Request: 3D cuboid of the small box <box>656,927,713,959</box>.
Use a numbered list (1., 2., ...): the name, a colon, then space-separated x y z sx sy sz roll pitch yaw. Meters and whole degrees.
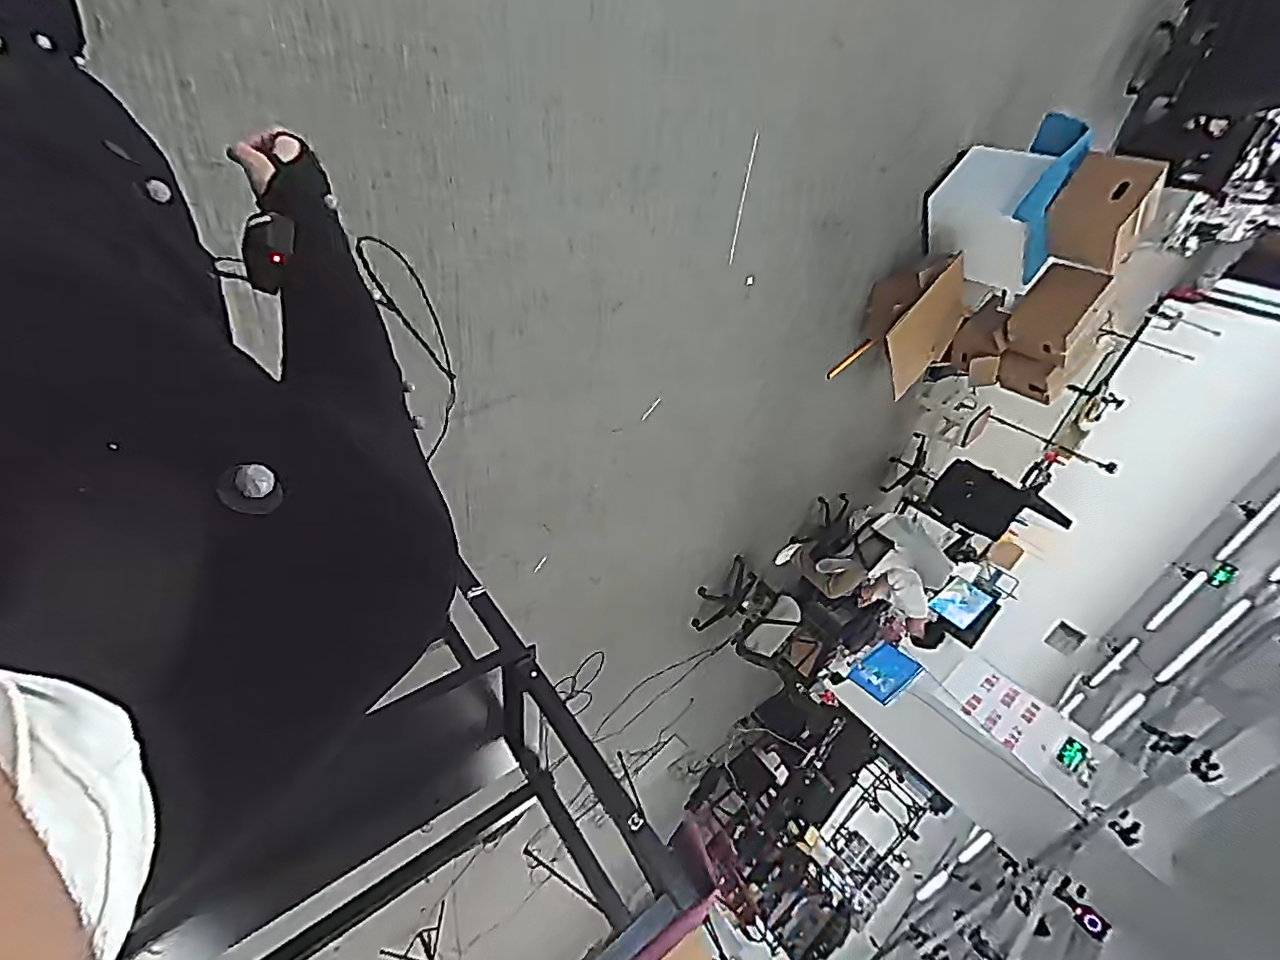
1. small box: 0.078 1.059 1.079 0.179 0.176 0.168 -21 136 -32
